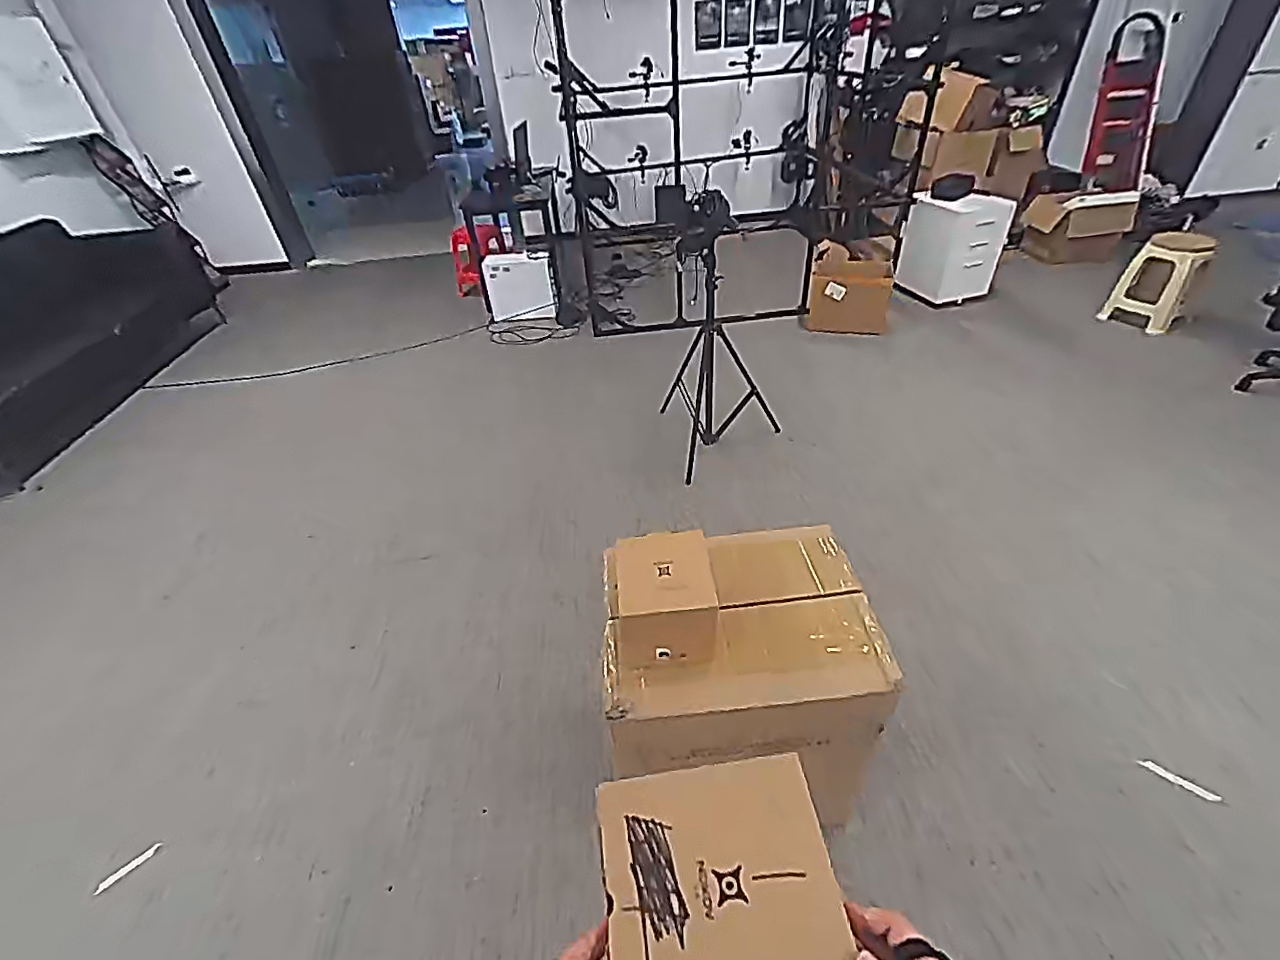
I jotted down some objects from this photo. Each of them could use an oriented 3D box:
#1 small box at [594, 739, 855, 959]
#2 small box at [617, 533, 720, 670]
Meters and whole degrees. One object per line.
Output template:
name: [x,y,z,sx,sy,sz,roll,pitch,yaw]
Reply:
small box: [0.062,0.351,0.472,0.179,0.176,0.168,-8,46,-2]
small box: [0.048,0.224,0.997,0.168,0.176,0.179,-7,42,-1]
